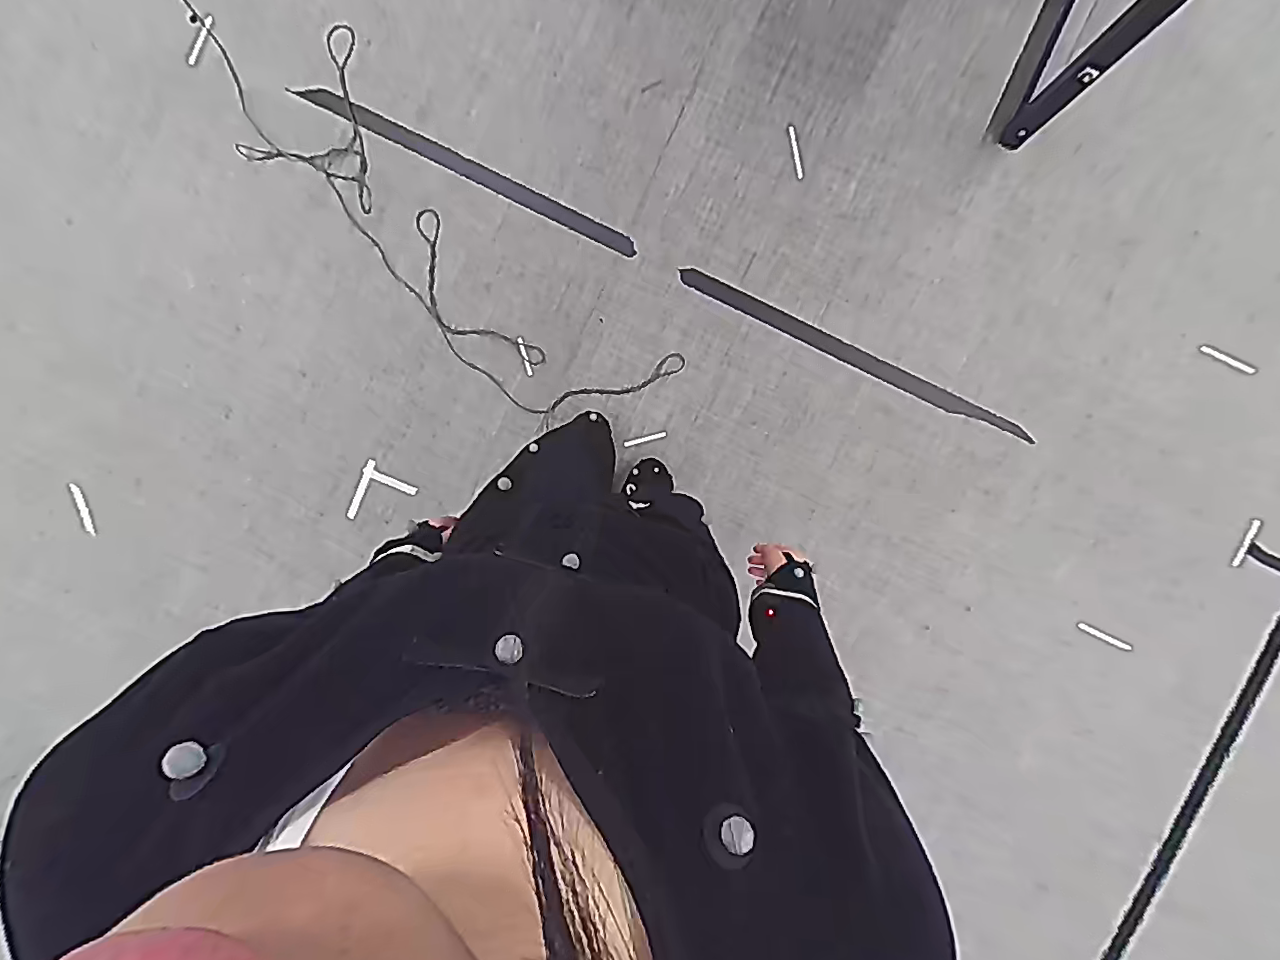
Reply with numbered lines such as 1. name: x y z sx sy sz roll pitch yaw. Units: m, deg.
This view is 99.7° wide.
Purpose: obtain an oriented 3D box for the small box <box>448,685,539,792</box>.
1. small box: -0.371 0.662 1.406 0.168 0.176 0.179 16 92 0
